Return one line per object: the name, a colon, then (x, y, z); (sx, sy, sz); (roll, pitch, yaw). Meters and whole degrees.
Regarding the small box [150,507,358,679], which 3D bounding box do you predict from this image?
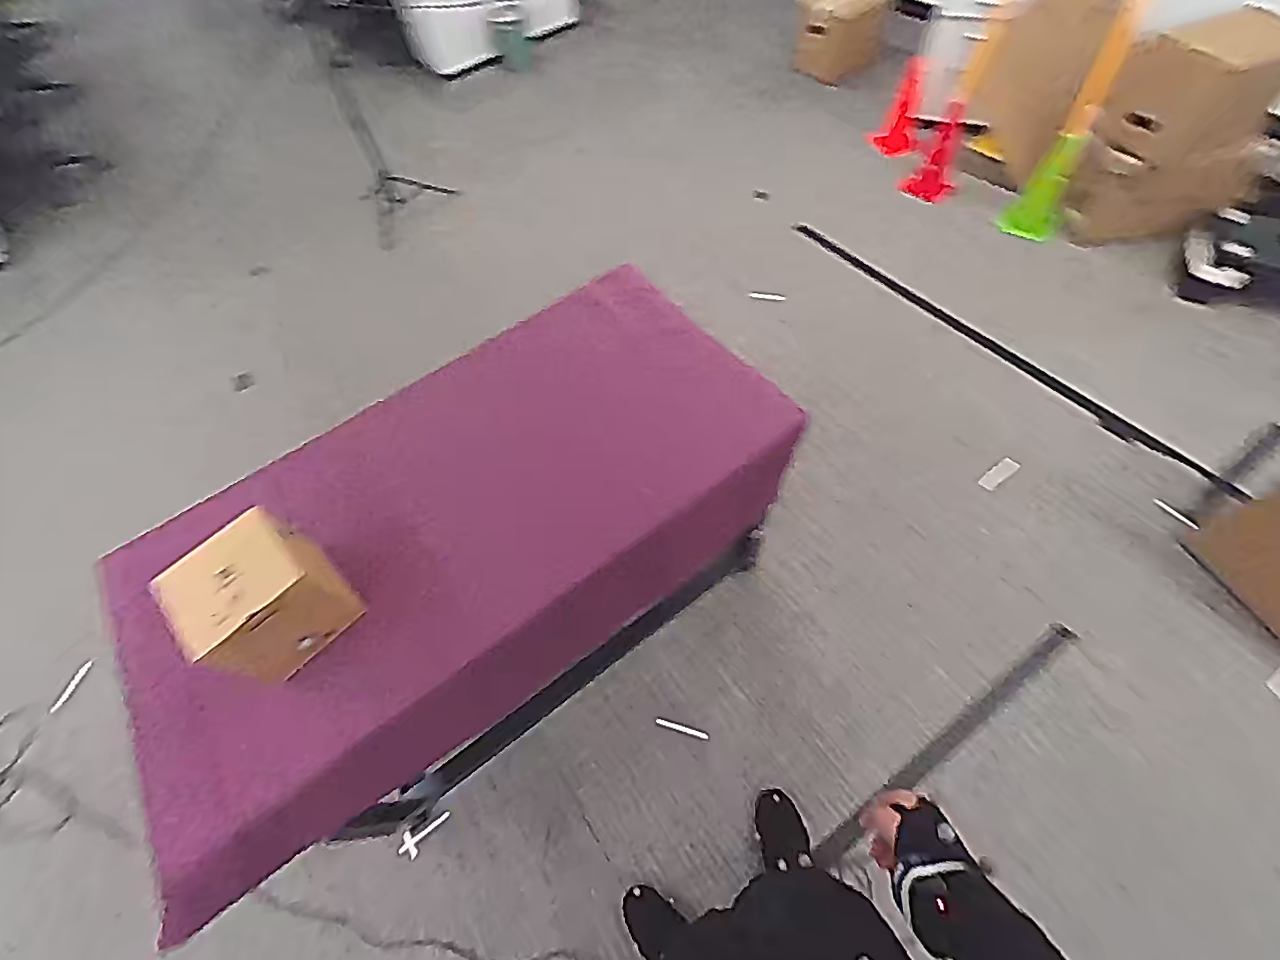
small box: (-0.585, 0.181, 0.838); (0.179, 0.176, 0.168); (38, 71, 24)
